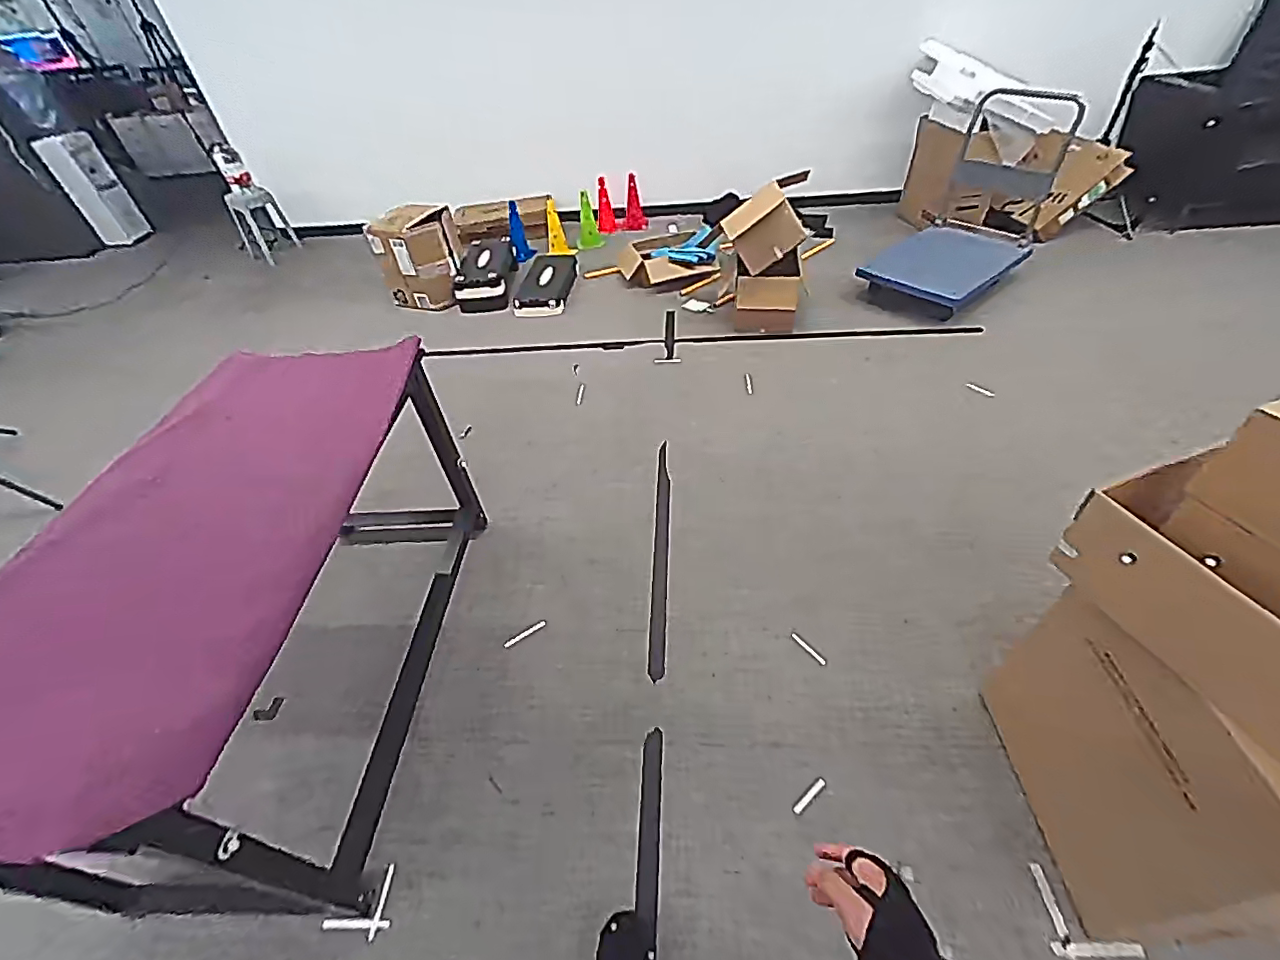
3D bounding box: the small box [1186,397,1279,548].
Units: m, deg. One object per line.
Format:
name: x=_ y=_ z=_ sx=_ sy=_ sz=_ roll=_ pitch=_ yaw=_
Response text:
small box: x=0.962 y=-0.013 z=0.764 sx=0.168 sy=0.176 sz=0.179 roll=-20 pitch=45 yaw=-13
